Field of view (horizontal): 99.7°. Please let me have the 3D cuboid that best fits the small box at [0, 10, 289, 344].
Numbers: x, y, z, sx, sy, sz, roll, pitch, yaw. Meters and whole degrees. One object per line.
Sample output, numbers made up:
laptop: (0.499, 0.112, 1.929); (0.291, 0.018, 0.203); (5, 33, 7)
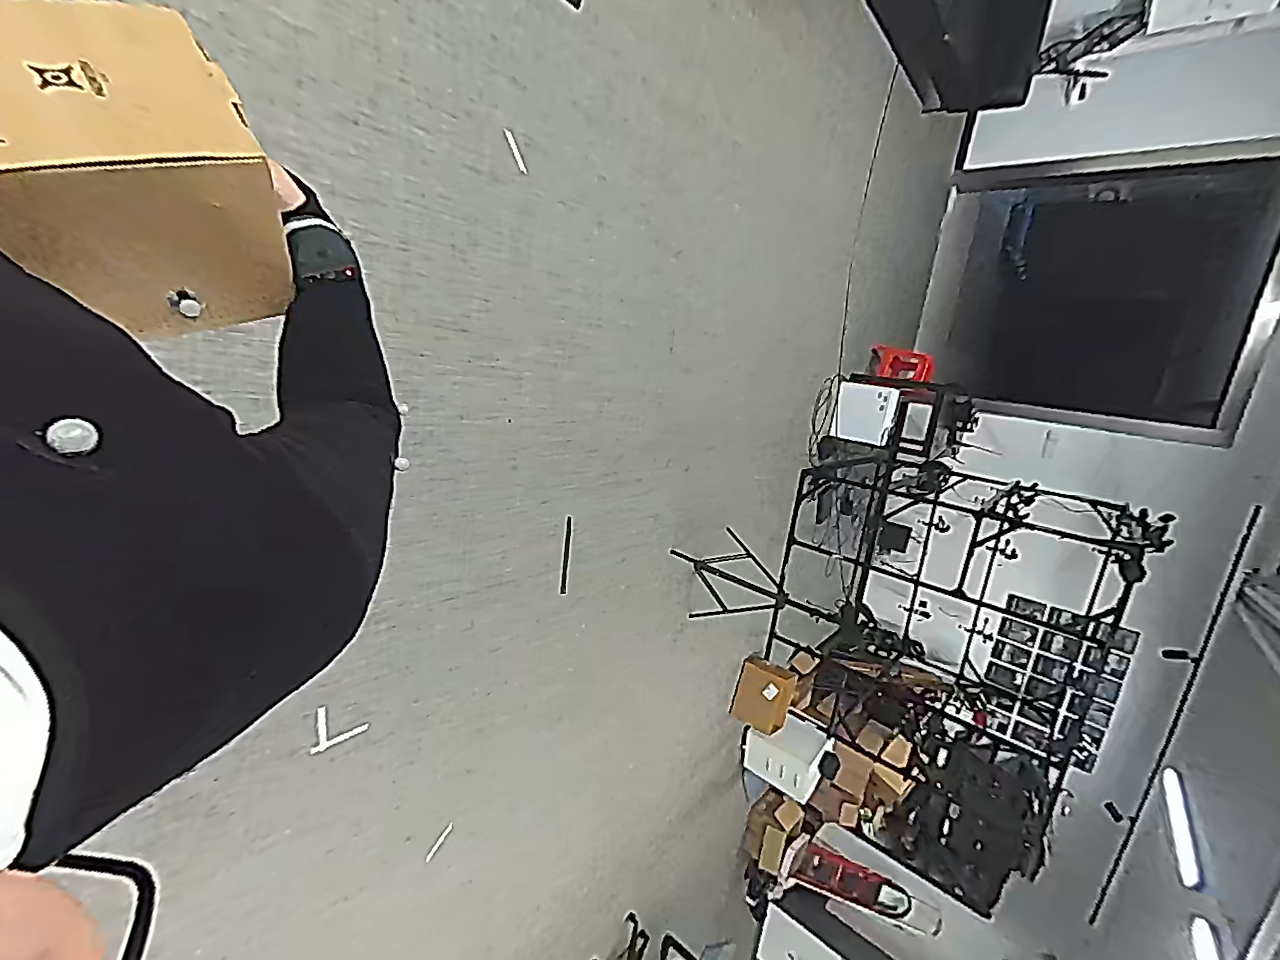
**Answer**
small box: (-0.423, -0.243, 0.455); (0.179, 0.168, 0.176); (-27, 166, -33)
